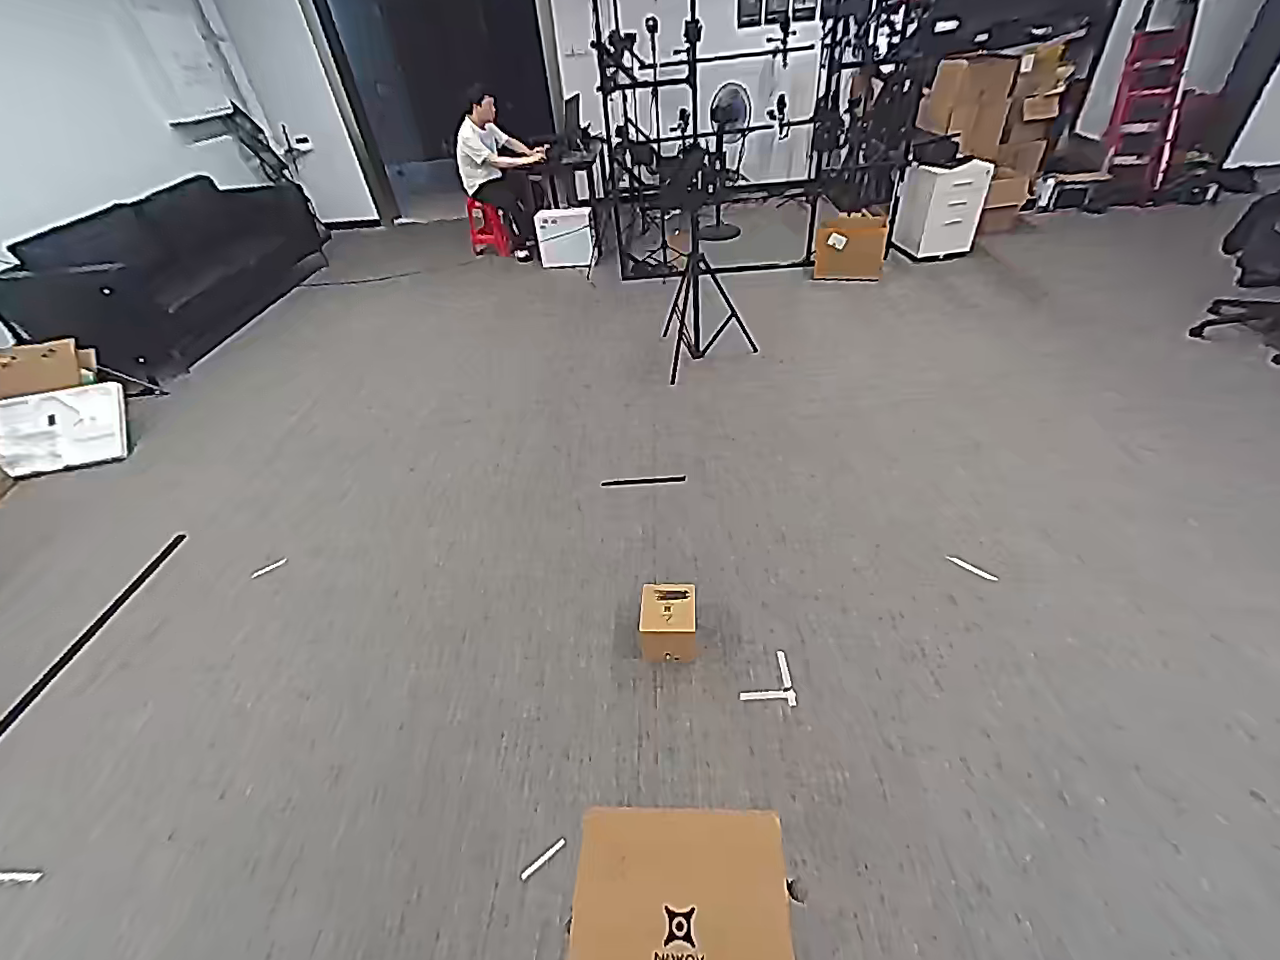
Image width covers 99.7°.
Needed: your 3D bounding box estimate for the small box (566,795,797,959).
[{"bbox_3d":[0.041,0.386,0.447,0.168,0.176,0.179,-5,41,10],"label":"small box"}]
